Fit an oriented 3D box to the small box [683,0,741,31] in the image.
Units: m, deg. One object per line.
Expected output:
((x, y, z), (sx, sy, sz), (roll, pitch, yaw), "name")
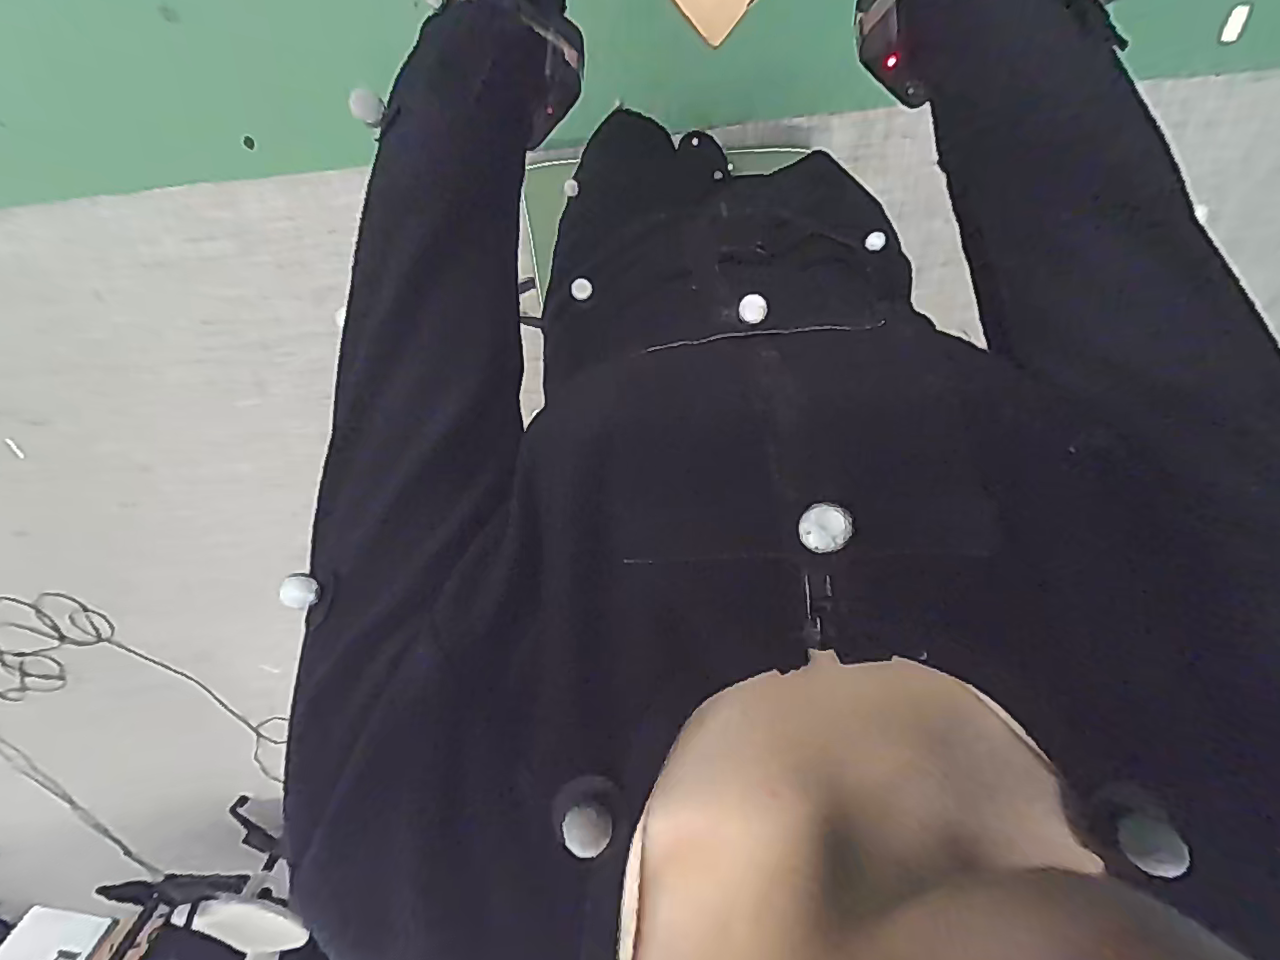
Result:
((0.041, -0.470, 0.372), (0.179, 0.176, 0.168), (30, 126, -29), "small box")
